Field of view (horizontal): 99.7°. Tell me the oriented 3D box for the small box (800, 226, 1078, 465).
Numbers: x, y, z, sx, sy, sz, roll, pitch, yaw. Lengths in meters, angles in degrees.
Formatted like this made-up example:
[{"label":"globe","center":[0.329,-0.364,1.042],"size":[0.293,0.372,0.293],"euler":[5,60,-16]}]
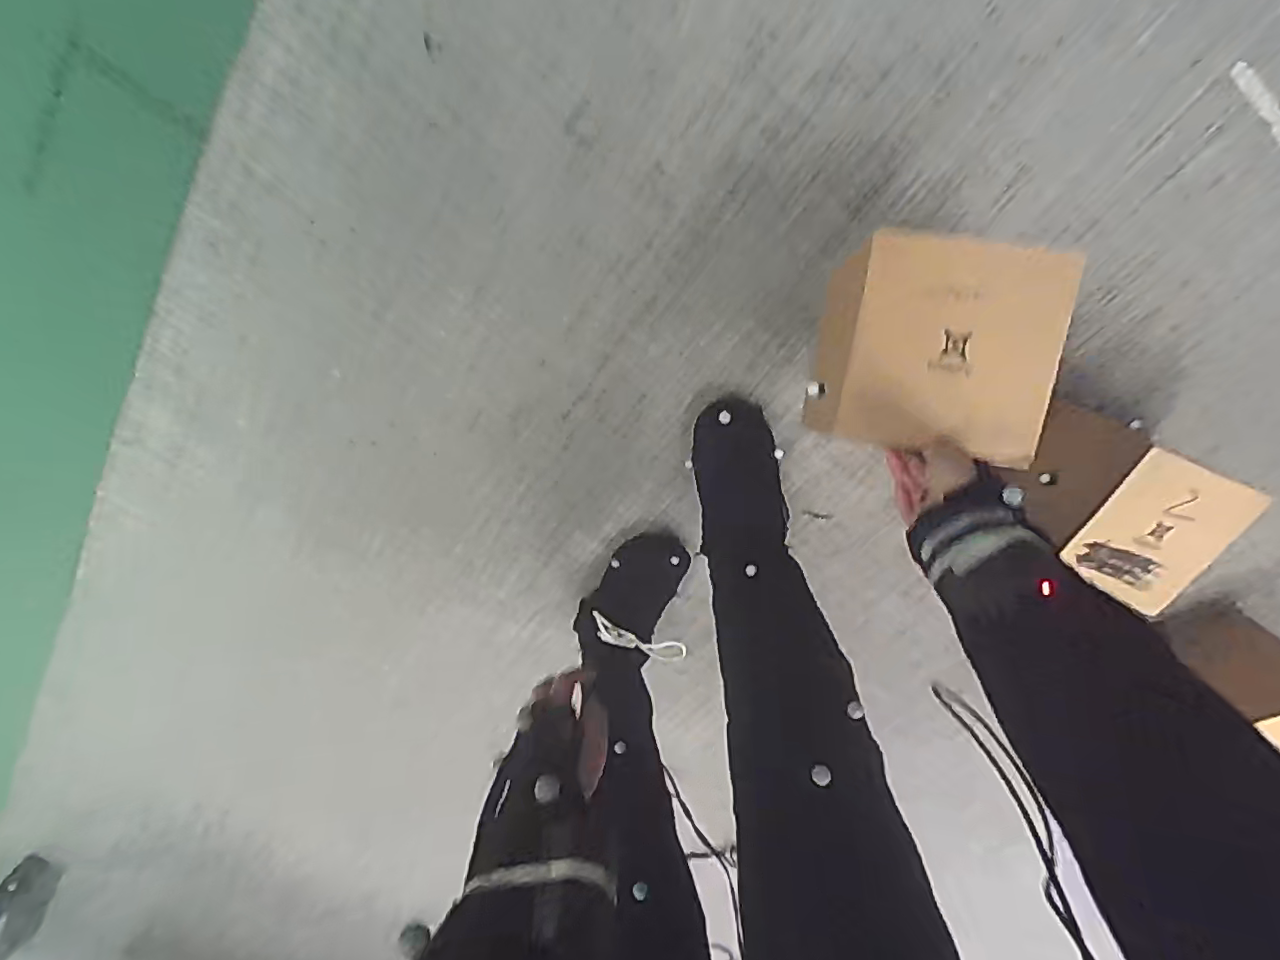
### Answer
[{"label":"small box","center":[0.260,-0.121,0.522],"size":[0.168,0.176,0.179],"euler":[9,99,5]}]
